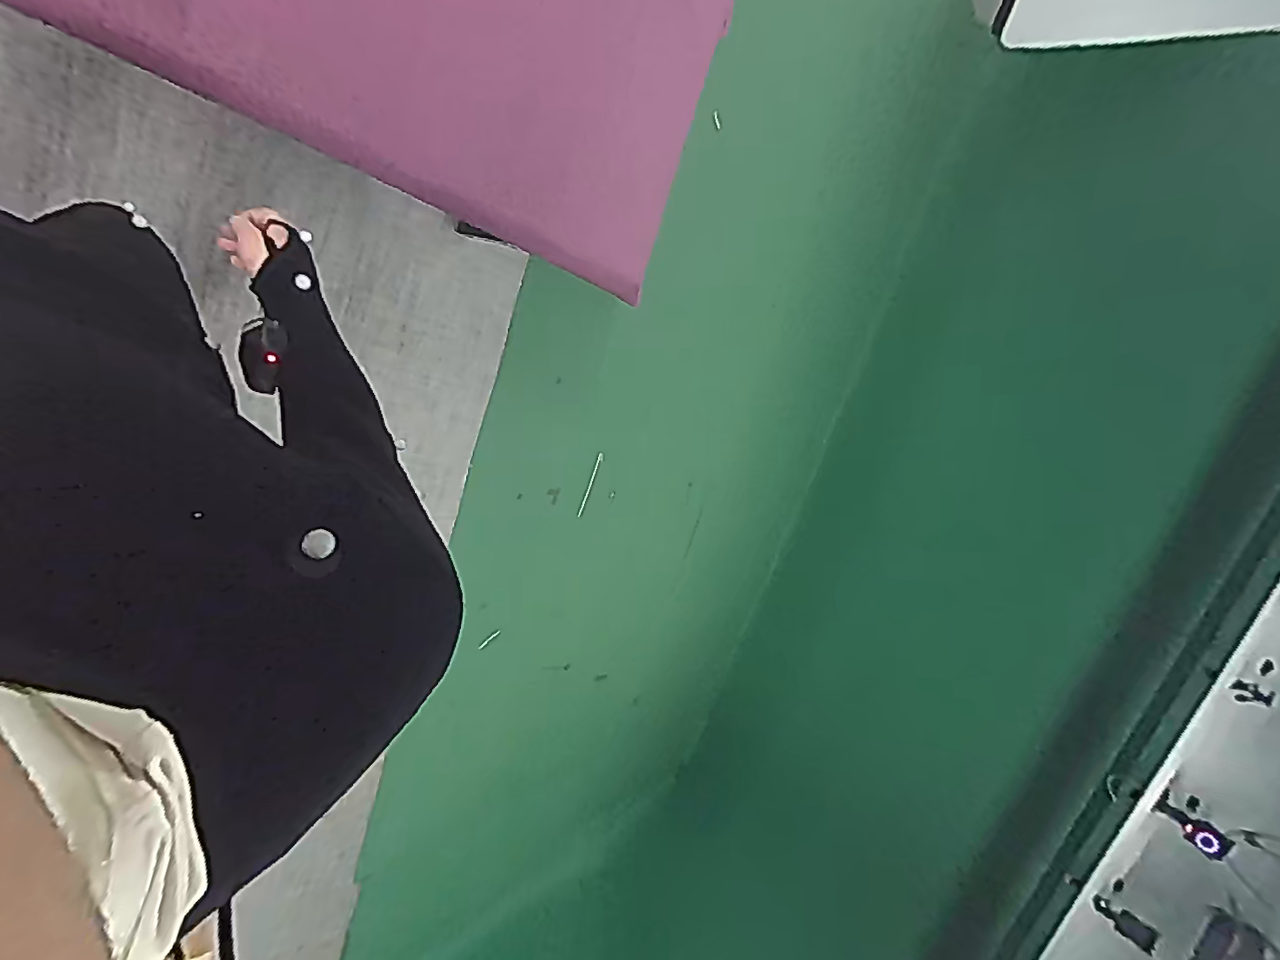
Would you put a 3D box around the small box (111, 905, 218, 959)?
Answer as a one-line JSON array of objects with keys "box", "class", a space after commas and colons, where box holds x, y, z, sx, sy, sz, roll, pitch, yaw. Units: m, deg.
[{"box": [-1.160, 1.182, 1.307, 0.168, 0.176, 0.179, 12, 105, -52], "class": "small box"}]

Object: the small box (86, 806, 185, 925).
[{"box": [-1.397, 1.054, 1.494, 0.168, 0.176, 0.179, 12, 104, -53], "class": "small box"}]
